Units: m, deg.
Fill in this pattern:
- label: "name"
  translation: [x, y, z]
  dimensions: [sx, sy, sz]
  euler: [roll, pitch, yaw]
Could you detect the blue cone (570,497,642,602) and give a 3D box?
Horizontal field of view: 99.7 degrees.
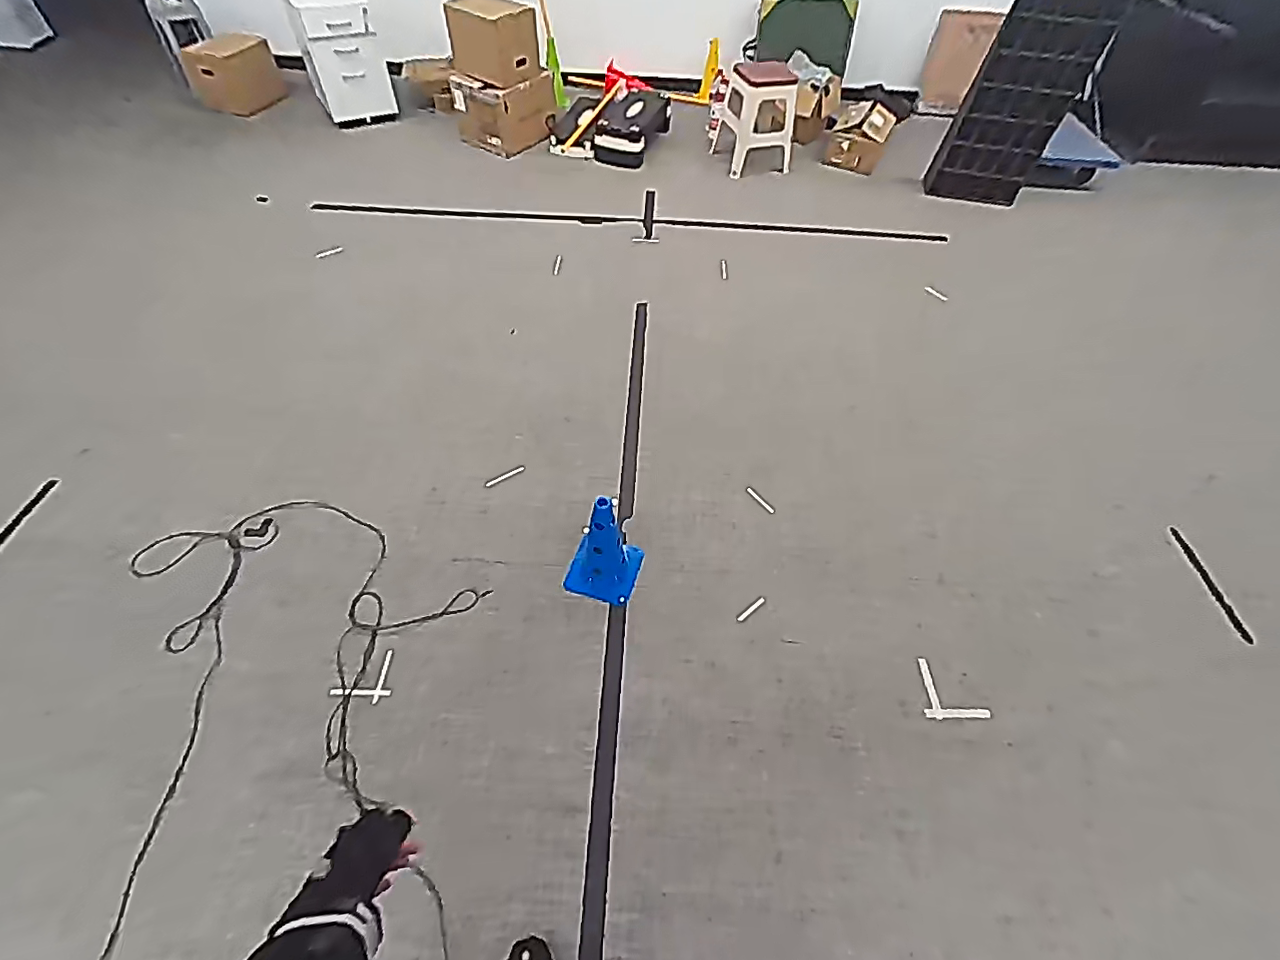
- label: "blue cone"
  translation: [-0.094, 0.167, 1.499]
  dimensions: [0.192, 0.380, 0.193]
  euler: [17, 54, 9]
